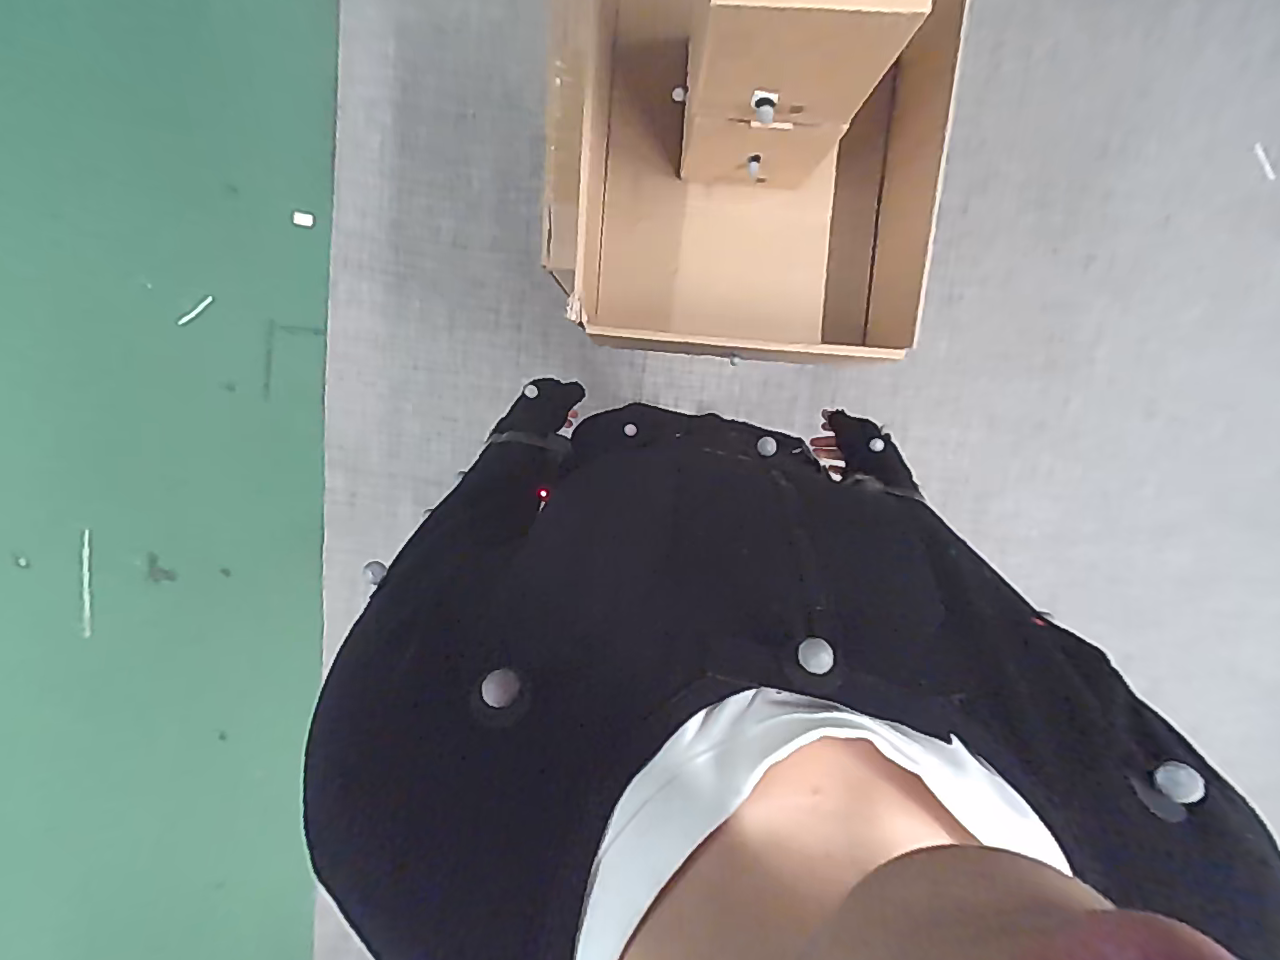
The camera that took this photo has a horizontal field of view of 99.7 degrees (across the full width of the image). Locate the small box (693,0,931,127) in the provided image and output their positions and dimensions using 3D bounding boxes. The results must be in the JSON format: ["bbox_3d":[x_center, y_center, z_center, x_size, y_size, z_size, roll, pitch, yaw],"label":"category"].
[{"bbox_3d":[0.137,-0.443,0.465,0.168,0.176,0.179,3,99,0],"label":"small box"}]
